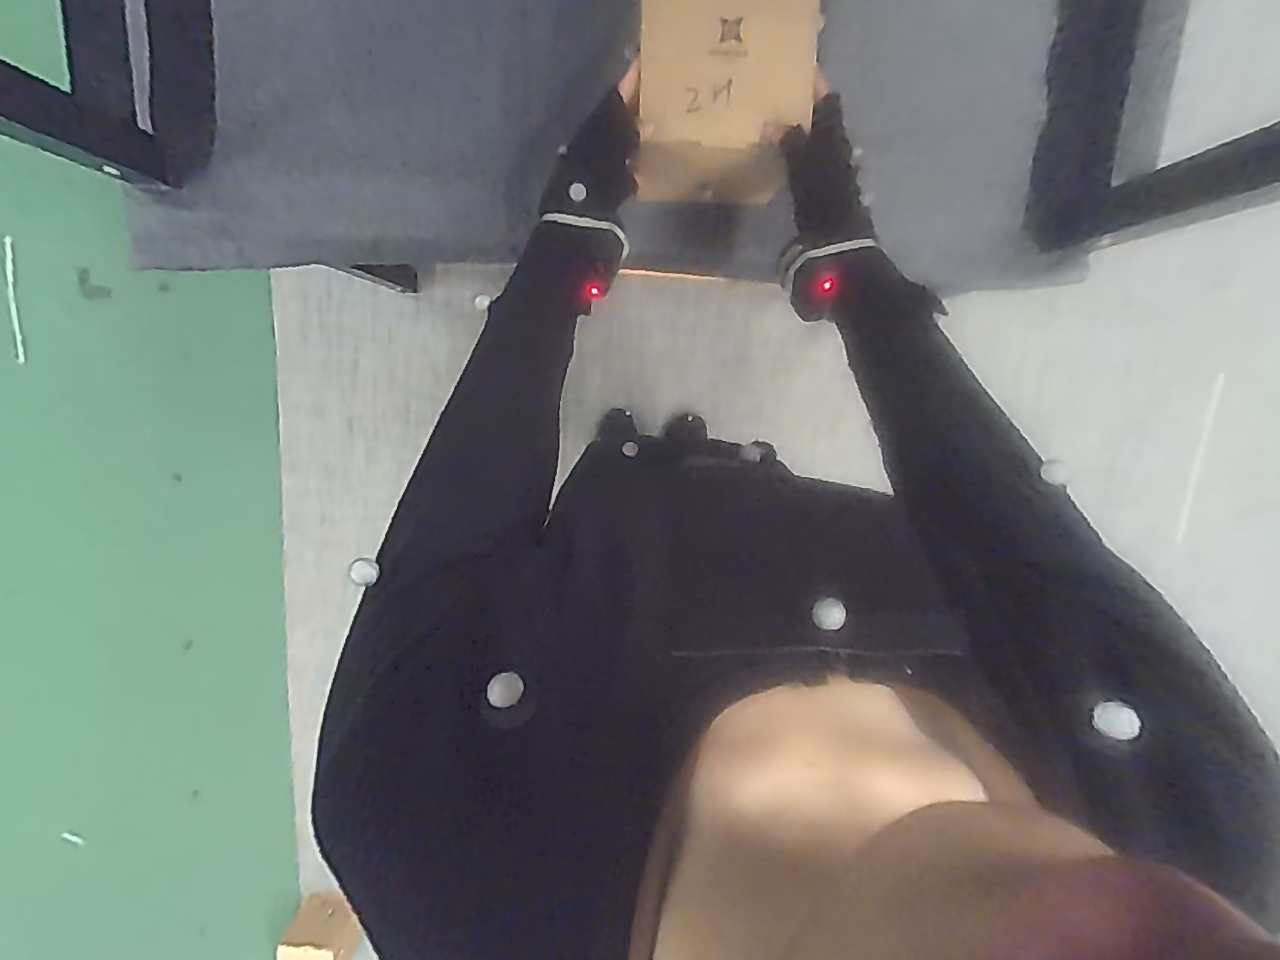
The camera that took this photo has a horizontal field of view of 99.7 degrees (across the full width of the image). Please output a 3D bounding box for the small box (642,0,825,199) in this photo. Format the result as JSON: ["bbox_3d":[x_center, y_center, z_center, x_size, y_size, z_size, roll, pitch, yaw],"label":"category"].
[{"bbox_3d":[0.088,-0.428,0.583,0.168,0.176,0.179,1,100,0],"label":"small box"}]

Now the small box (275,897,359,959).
[{"bbox_3d":[-0.982,1.430,1.654,0.168,0.176,0.179,6,100,-2],"label":"small box"}]
